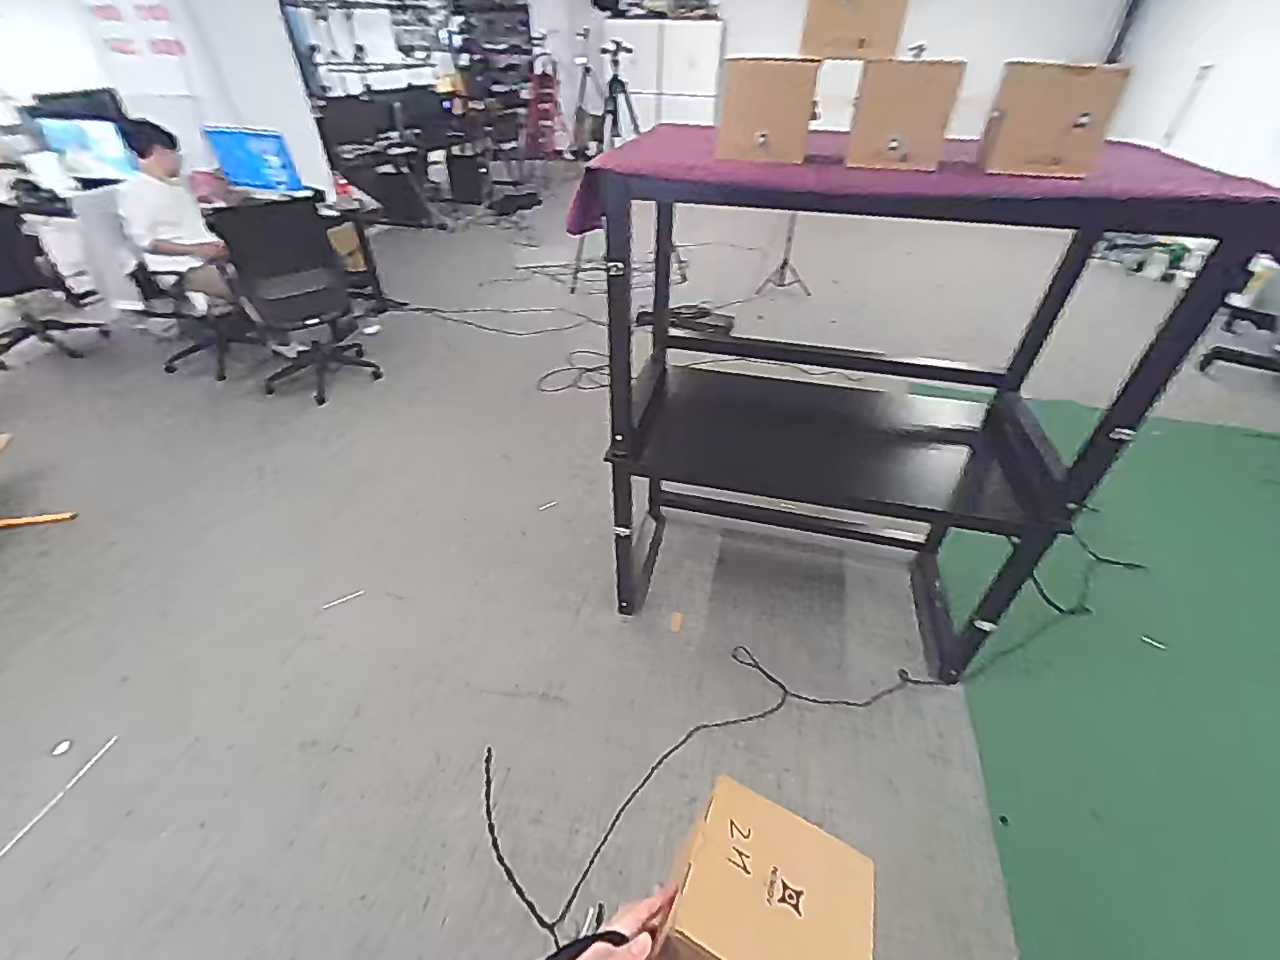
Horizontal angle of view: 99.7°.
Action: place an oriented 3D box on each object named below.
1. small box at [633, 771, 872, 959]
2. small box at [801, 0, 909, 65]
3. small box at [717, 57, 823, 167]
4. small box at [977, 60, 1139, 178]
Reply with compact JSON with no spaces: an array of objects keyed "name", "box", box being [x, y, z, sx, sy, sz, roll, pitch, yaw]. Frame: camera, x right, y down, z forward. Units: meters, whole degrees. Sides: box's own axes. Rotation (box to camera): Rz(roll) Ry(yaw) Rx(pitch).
[{"name":"small box","box":[0.109,0.450,0.544,0.179,0.176,0.168,23,27,15]},{"name":"small box","box":[0.386,-0.848,0.965,0.168,0.176,0.179,10,39,13]},{"name":"small box","box":[0.262,-0.743,1.094,0.179,0.176,0.168,10,40,11]},{"name":"small box","box":[0.751,-0.665,0.997,0.168,0.176,0.179,12,39,14]}]
